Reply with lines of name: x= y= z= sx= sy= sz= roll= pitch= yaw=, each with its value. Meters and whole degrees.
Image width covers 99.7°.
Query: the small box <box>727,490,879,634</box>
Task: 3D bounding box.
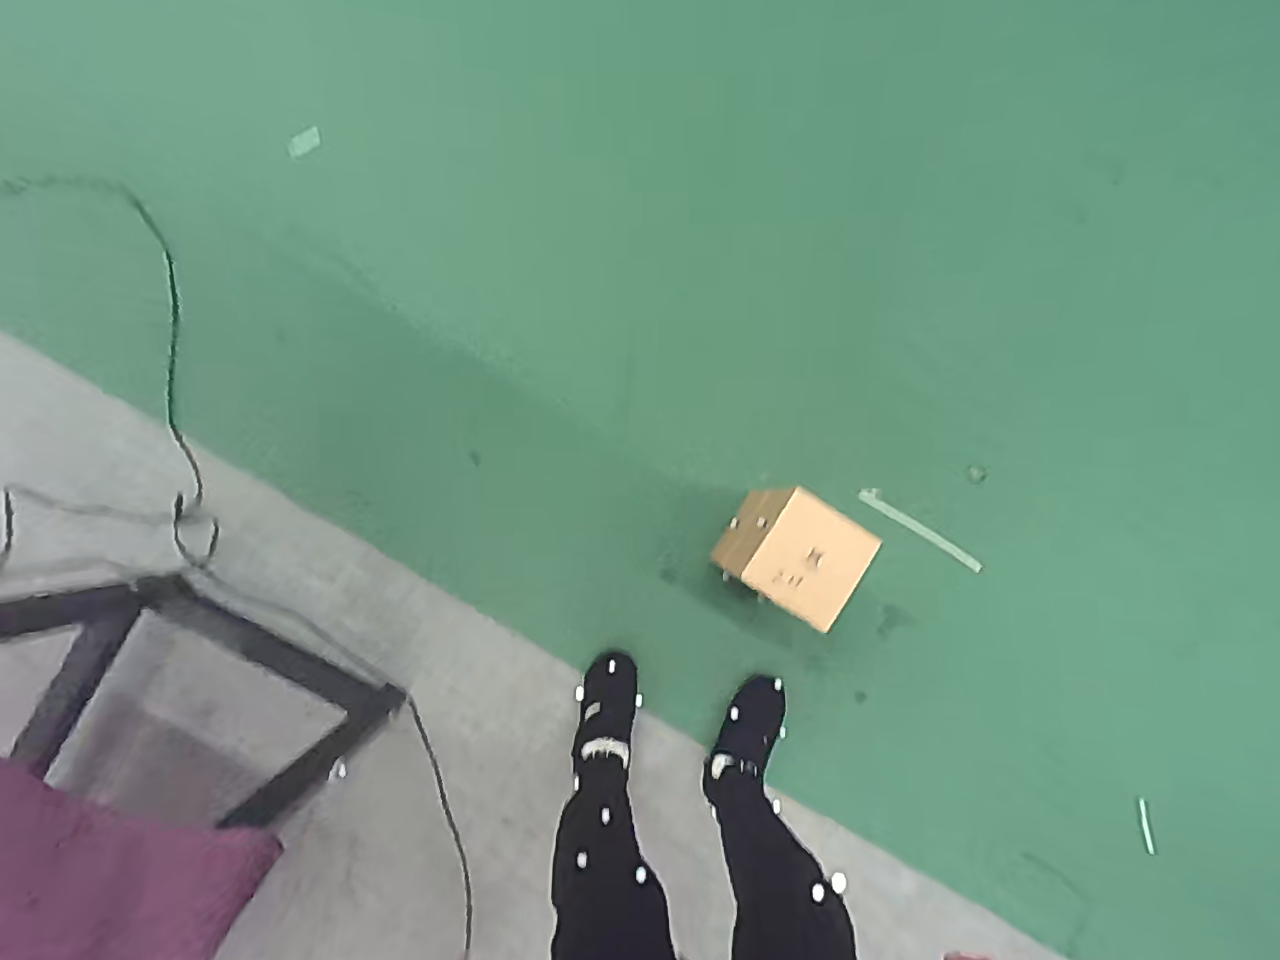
small box: x=0.270 y=0.135 z=0.946 sx=0.168 sy=0.176 sz=0.179 roll=34 pitch=87 yaw=1
